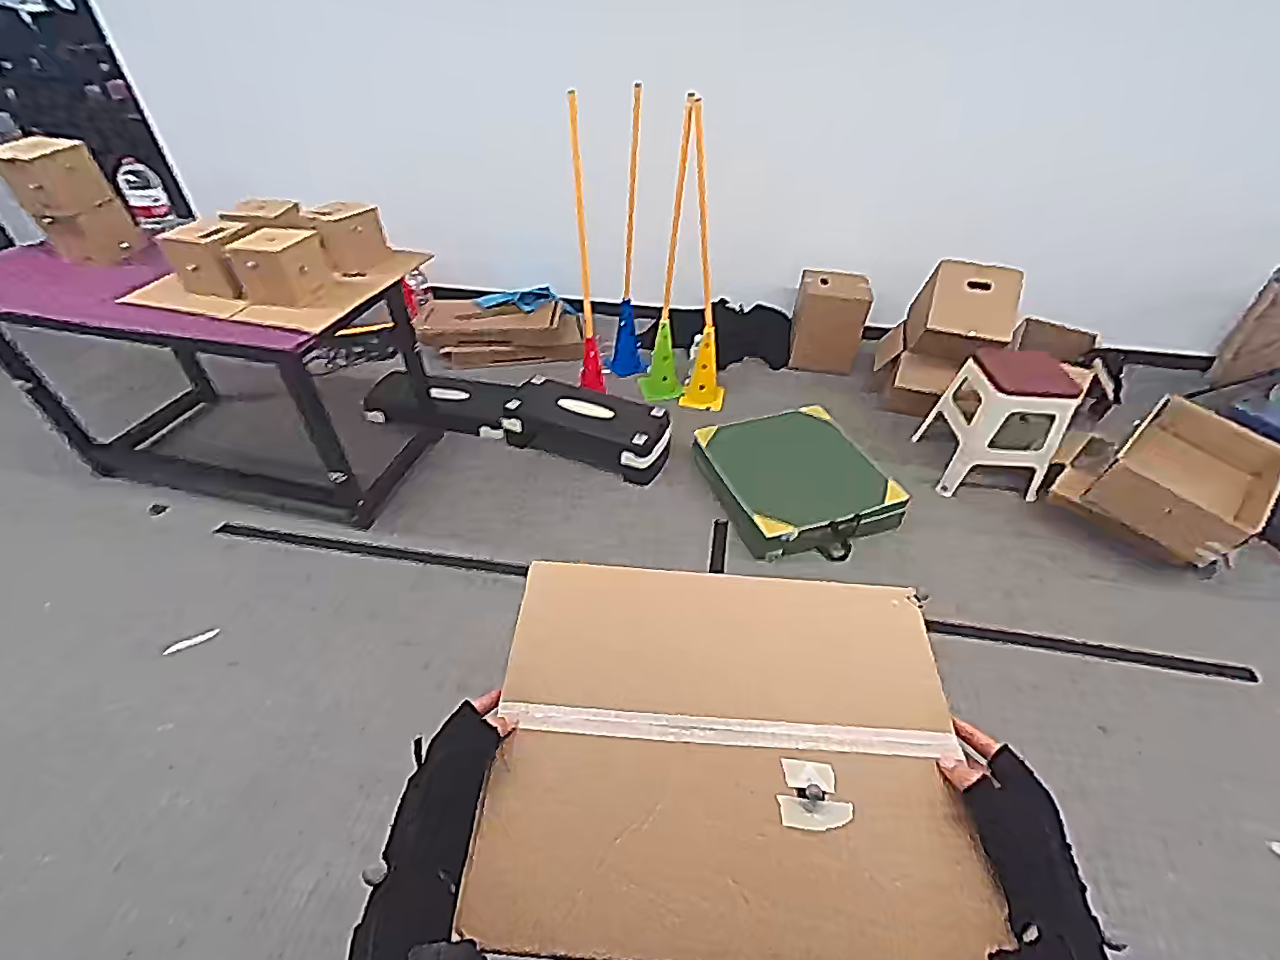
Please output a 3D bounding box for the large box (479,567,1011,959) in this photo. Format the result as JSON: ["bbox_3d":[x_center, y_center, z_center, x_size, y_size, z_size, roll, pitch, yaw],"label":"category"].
[{"bbox_3d":[0.077,0.318,0.604,0.408,0.320,0.320,4,51,1],"label":"large box"}]
